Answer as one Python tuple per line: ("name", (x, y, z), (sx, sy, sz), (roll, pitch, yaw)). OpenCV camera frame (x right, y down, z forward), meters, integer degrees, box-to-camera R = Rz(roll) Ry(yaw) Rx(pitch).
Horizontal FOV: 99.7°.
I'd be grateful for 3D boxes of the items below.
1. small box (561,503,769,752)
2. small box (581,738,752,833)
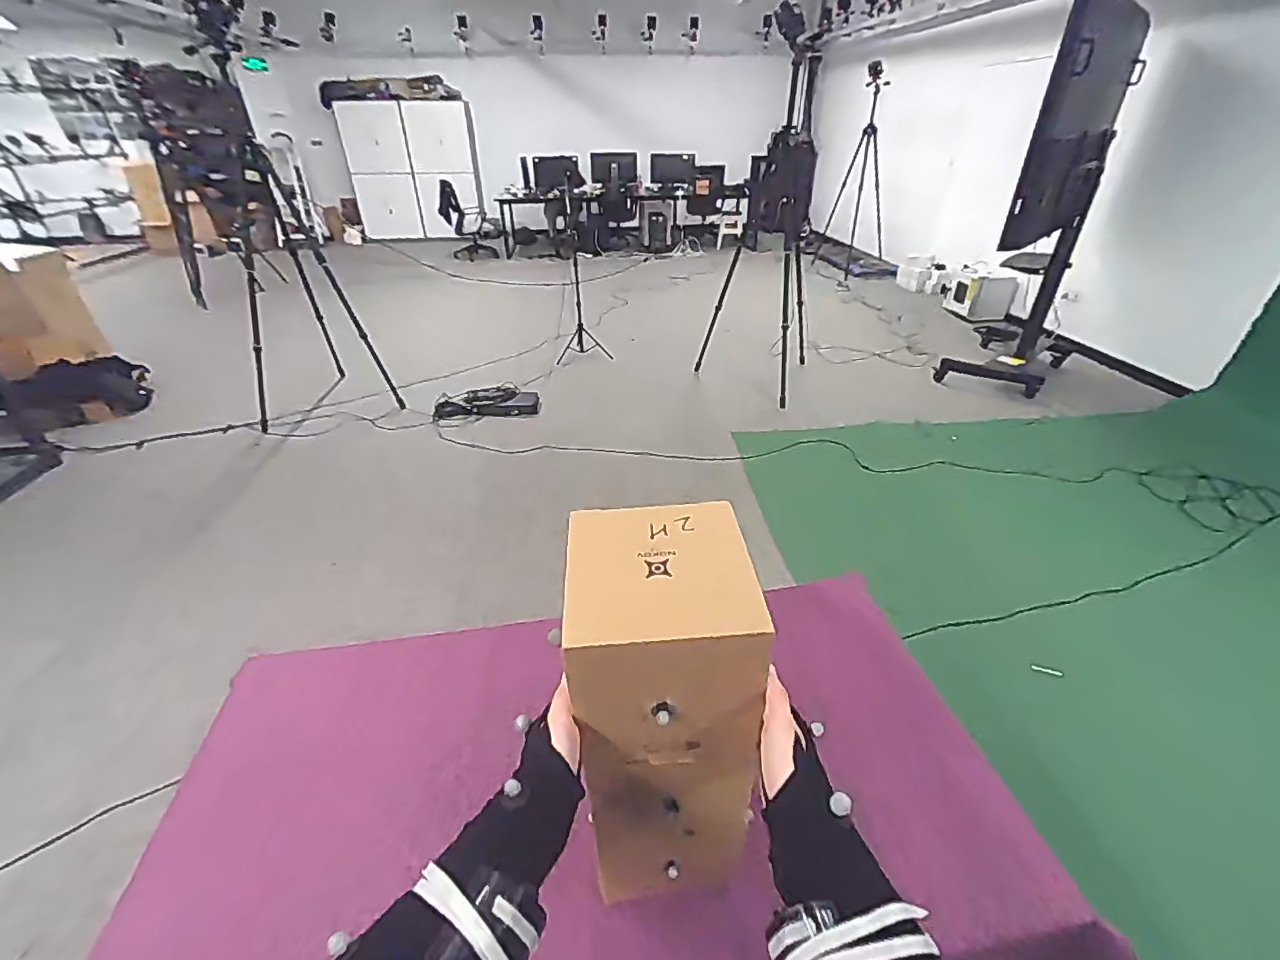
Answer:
("small box", (0.019, 0.144, 0.526), (0.168, 0.176, 0.179), (-3, 34, -2))
("small box", (0.025, 0.280, 0.620), (0.168, 0.176, 0.179), (-2, 34, -2))
